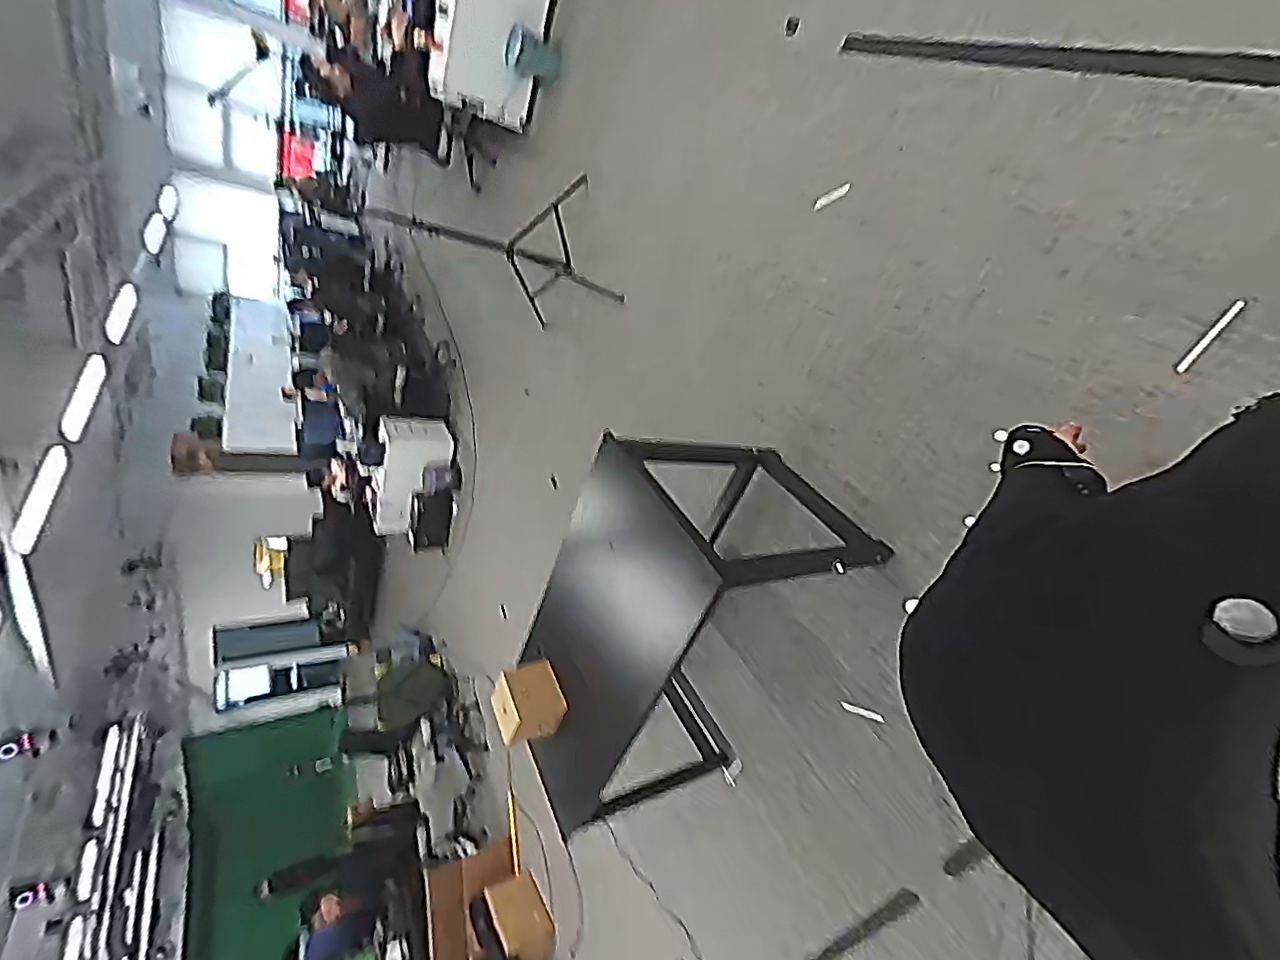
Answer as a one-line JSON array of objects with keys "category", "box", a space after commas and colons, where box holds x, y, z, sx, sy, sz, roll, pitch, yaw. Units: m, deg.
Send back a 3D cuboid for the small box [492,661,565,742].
[{"category": "small box", "box": [-0.366, 0.722, 1.781, 0.179, 0.176, 0.168, 56, 131, 40]}]
